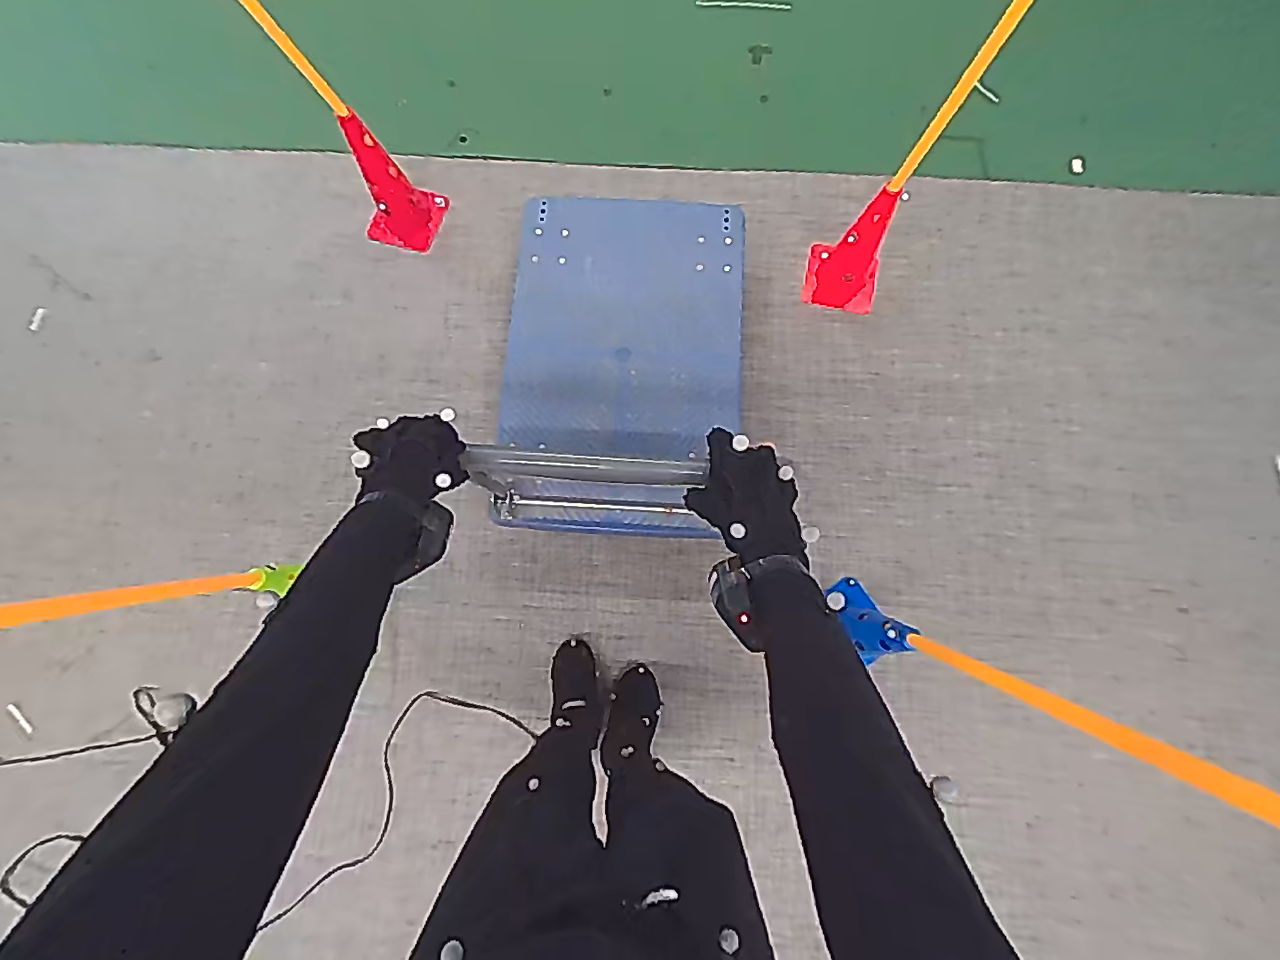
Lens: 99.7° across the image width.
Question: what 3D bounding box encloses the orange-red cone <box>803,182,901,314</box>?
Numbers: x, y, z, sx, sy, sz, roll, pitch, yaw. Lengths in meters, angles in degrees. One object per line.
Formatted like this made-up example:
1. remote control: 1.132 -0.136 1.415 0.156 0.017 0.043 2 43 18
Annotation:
1. orange-red cone: 0.579 -0.620 1.396 0.198 0.360 0.199 14 78 5
